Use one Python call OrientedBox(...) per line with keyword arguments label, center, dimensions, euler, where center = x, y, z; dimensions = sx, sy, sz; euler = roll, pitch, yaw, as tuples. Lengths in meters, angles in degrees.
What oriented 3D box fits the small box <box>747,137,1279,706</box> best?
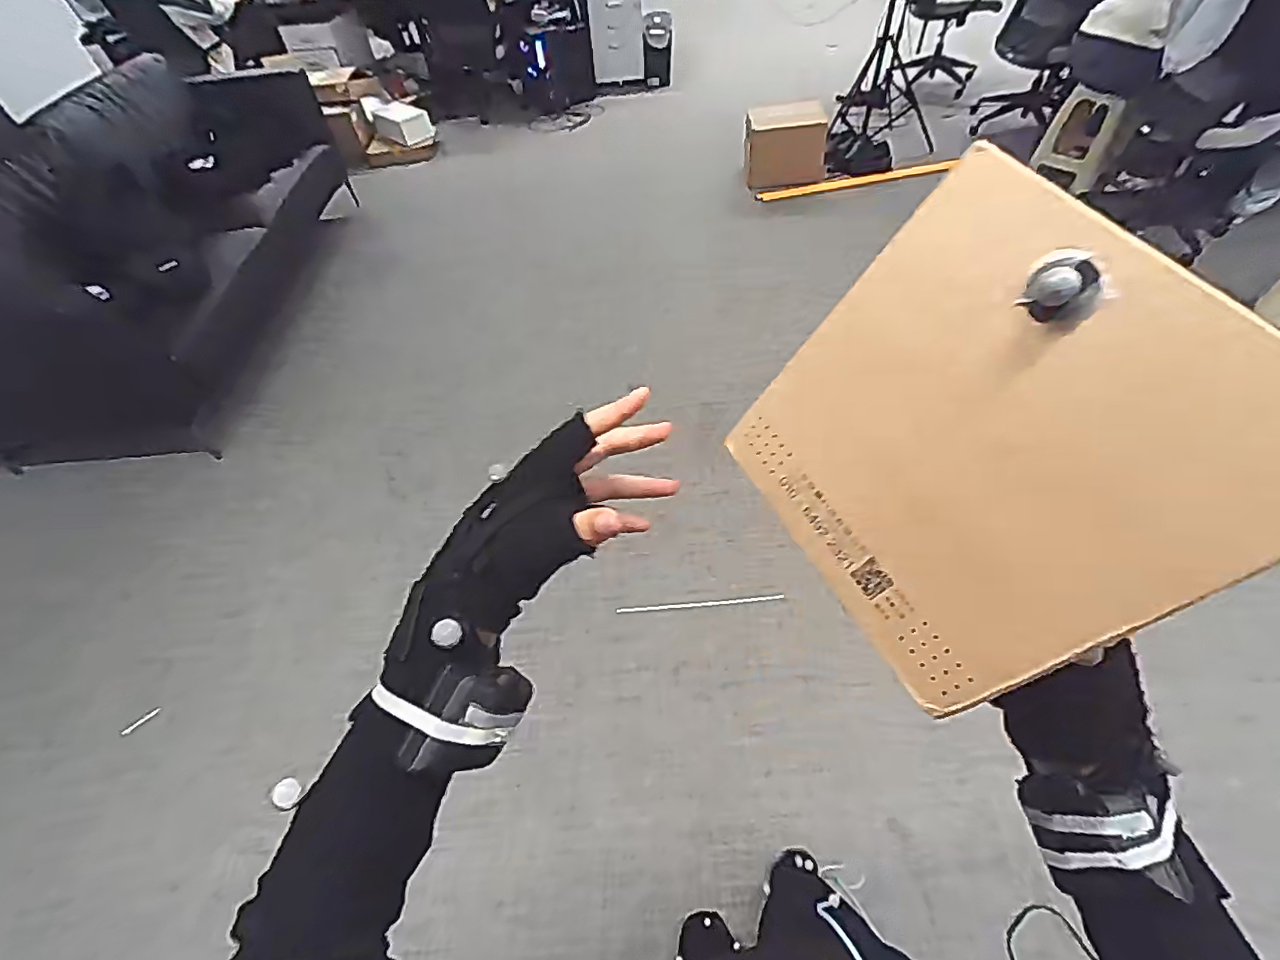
OrientedBox(label="small box", center=(0.189, -0.017, 0.270), dimensions=(0.179, 0.176, 0.168), euler=(-3, 52, -42))
